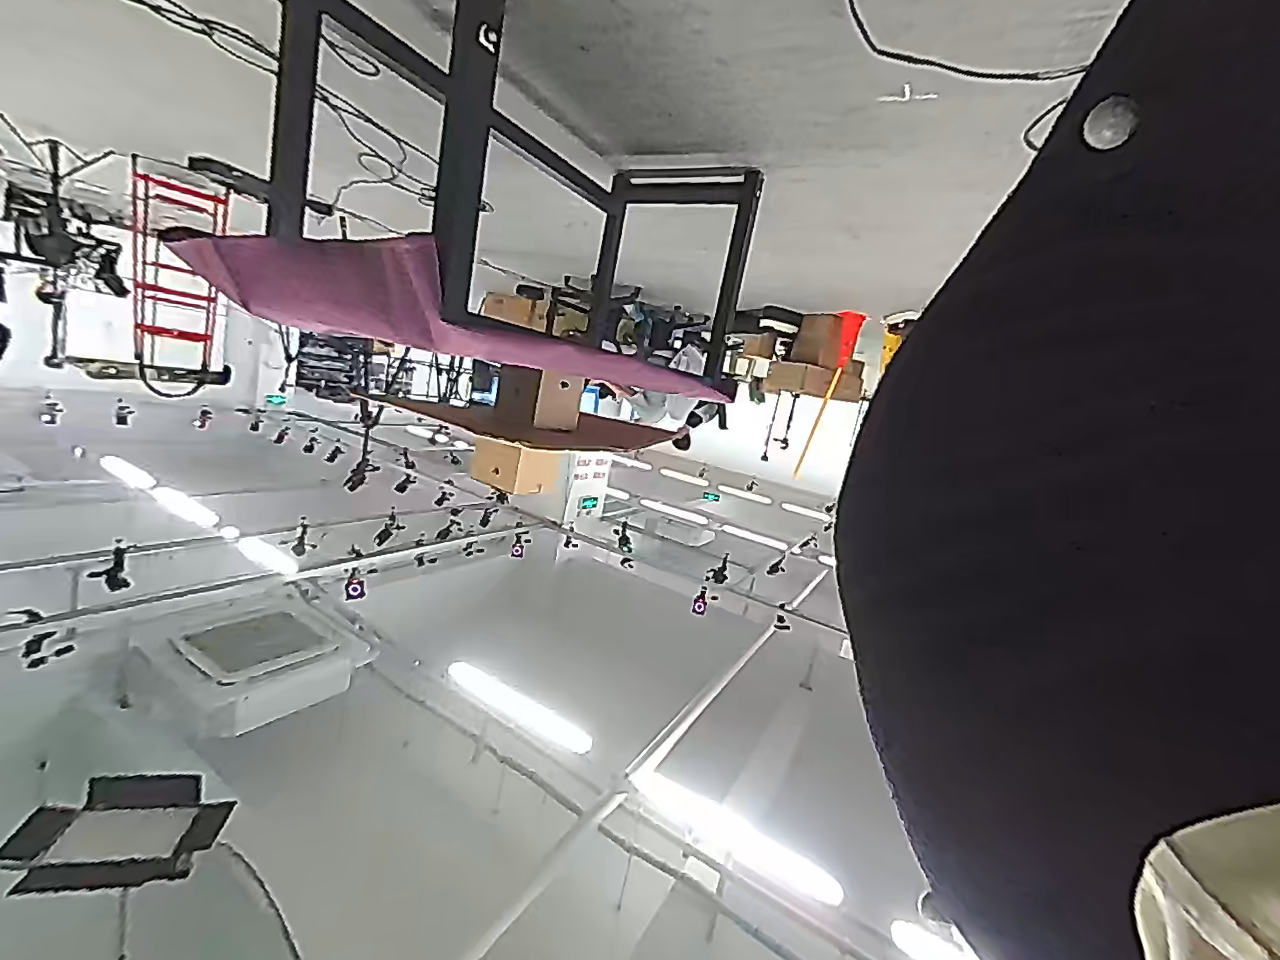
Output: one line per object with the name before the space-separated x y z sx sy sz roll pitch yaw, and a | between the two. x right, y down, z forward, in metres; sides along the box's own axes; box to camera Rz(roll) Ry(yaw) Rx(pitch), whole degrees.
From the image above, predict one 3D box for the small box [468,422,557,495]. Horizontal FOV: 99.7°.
small box | -0.350 -0.064 1.505 0.179 0.176 0.168 18 -171 30
